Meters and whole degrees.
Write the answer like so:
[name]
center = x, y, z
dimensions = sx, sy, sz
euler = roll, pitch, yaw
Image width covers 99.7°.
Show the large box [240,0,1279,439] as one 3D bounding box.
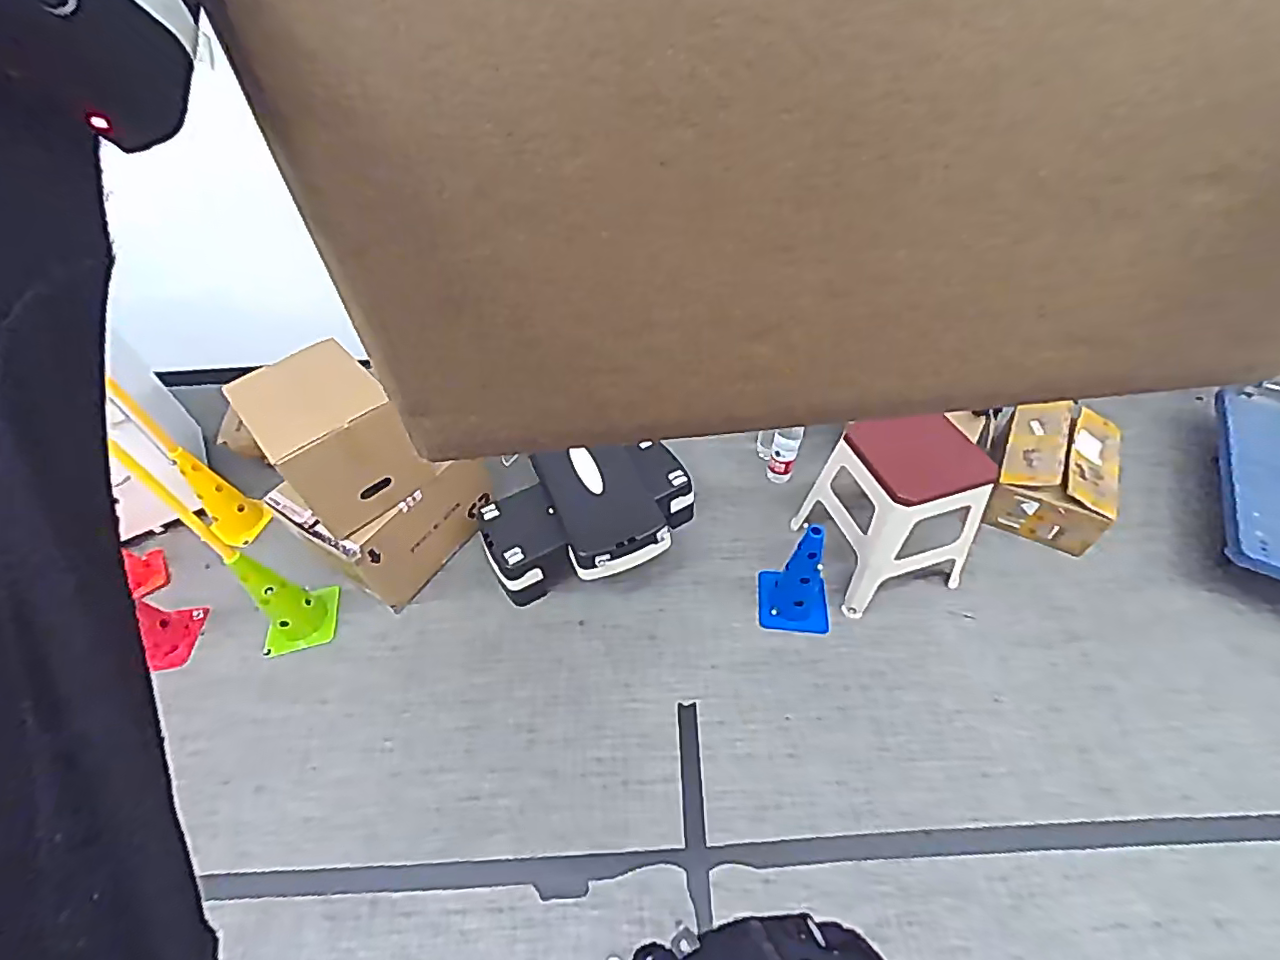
[large box]
center = 0.070, -0.244, 0.275
dimensions = 0.408, 0.320, 0.320
euler = -5, 41, 1
